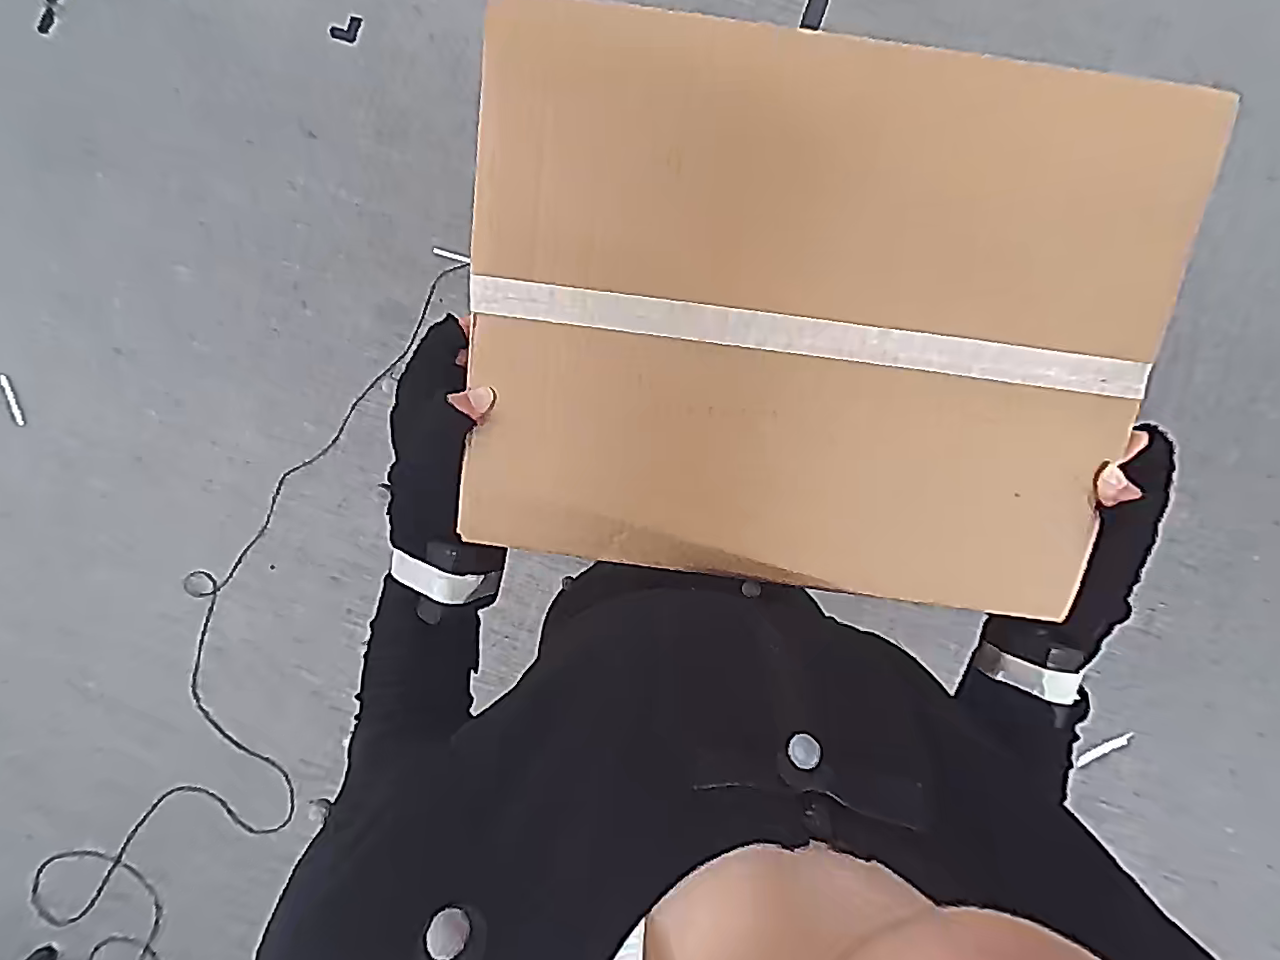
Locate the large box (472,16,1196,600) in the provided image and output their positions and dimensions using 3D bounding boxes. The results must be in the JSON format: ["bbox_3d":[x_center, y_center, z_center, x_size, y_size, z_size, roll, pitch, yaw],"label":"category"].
[{"bbox_3d":[0.100,-0.120,0.478,0.408,0.320,0.320,8,104,-1],"label":"large box"}]
